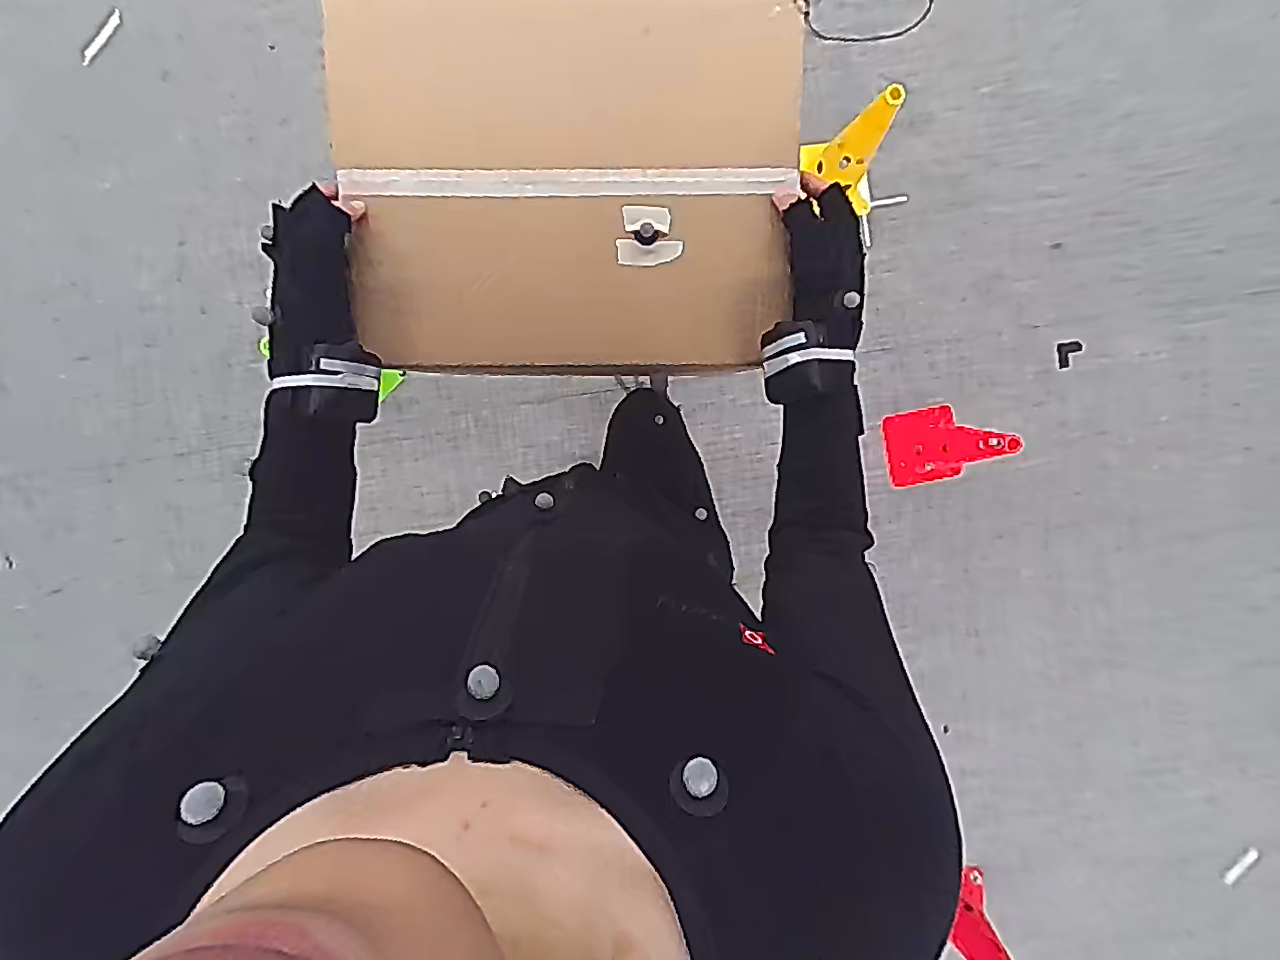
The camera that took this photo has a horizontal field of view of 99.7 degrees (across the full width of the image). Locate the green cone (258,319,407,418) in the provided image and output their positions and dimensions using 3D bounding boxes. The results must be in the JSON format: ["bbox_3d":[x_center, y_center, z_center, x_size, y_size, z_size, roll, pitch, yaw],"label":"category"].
[{"bbox_3d":[-0.746,-0.284,1.261,0.200,0.368,0.202,44,93,-2],"label":"green cone"}]

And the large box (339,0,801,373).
[{"bbox_3d":[-0.062,-0.293,0.631,0.408,0.320,0.320,-1,100,-2],"label":"large box"}]

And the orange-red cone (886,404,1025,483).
[{"bbox_3d":[0.779,-0.094,1.301,0.198,0.360,0.199,-11,92,-1],"label":"orange-red cone"}]
